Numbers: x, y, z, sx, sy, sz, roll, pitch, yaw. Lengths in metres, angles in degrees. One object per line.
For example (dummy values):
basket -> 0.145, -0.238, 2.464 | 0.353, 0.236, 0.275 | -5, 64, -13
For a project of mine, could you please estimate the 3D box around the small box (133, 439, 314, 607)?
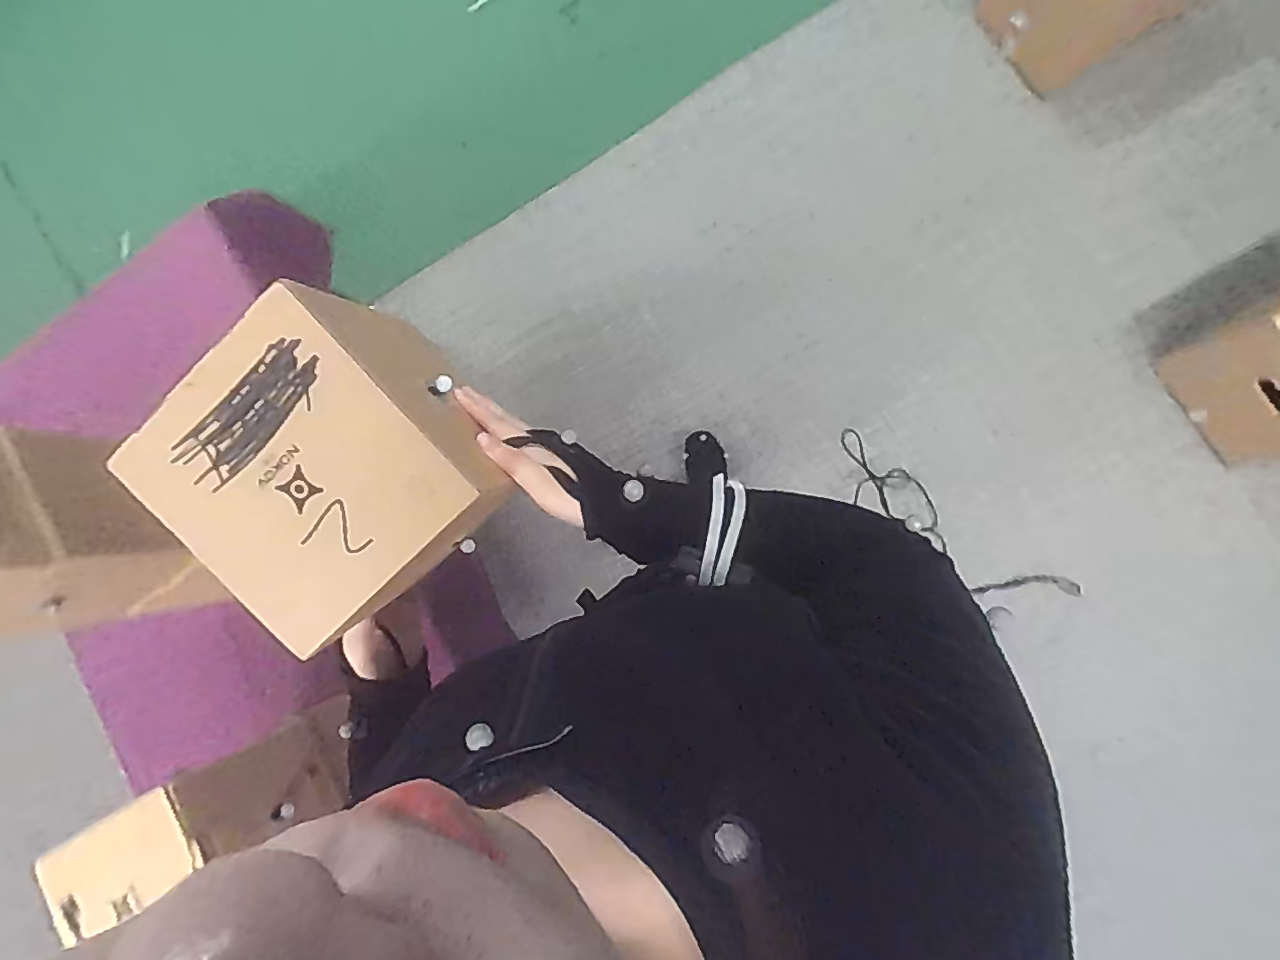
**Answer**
small box -> -0.643, 0.062, 0.809 | 0.168, 0.176, 0.179 | -33, 83, 7

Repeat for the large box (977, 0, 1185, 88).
large box -> 1.103, -1.238, 1.244 | 0.408, 0.320, 0.320 | -31, 83, 6

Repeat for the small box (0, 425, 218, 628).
small box -> -0.672, 0.059, 0.648 | 0.179, 0.176, 0.168 | -34, 83, 6

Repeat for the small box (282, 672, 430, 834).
small box -> -0.438, 0.402, 0.761 | 0.179, 0.176, 0.168 | -31, 83, 6

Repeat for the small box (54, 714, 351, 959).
small box -> -0.458, 0.393, 0.598 | 0.179, 0.176, 0.168 | -31, 83, 6
